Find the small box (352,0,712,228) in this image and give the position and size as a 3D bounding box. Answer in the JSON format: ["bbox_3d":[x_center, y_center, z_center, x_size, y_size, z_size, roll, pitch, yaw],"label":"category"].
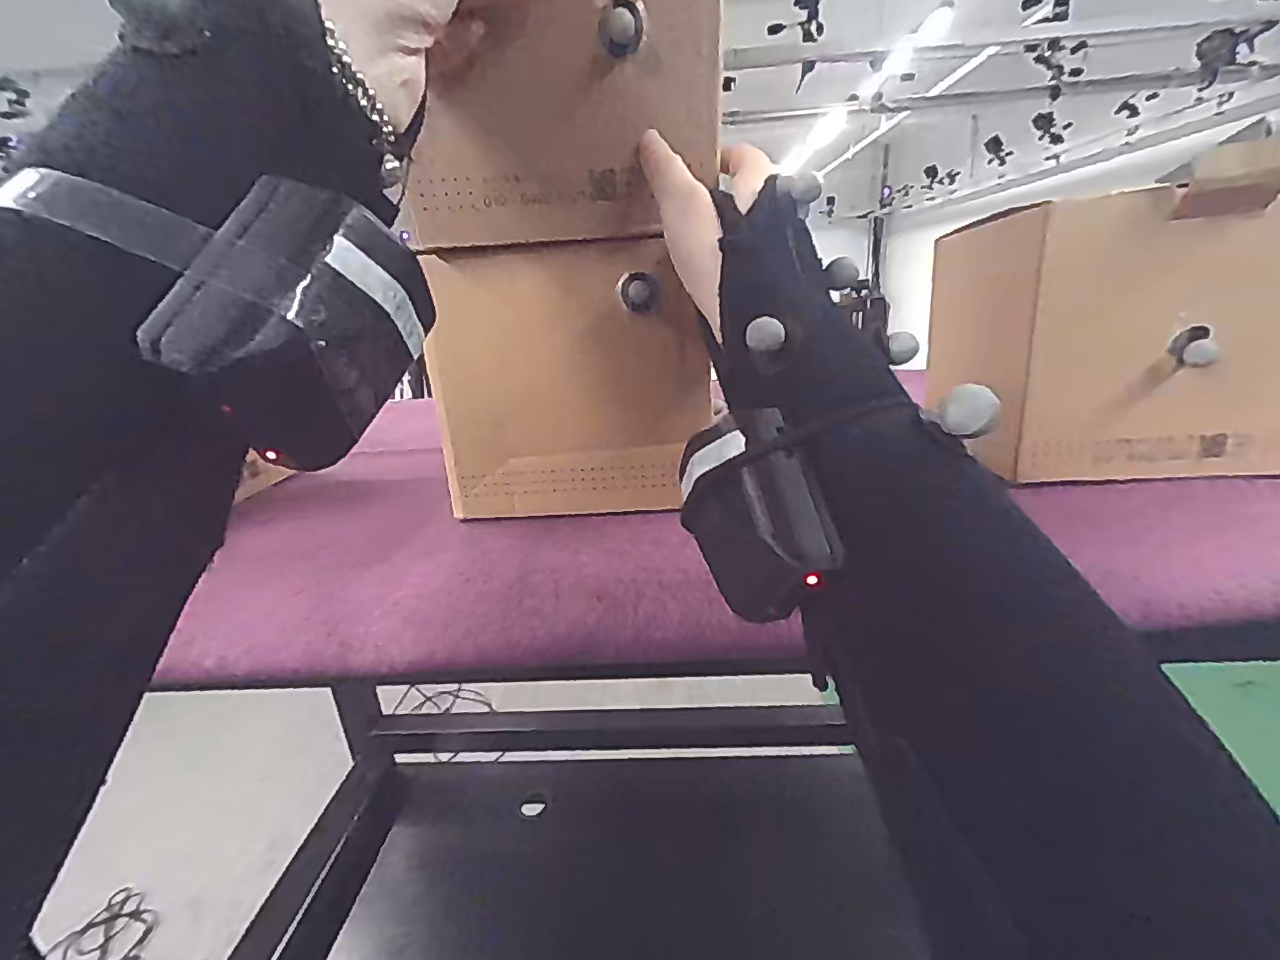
[{"bbox_3d":[-0.049,-0.246,0.315,0.168,0.176,0.179,-3,31,0],"label":"small box"}]

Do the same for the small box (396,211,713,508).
[{"bbox_3d":[-0.043,-0.083,0.393,0.179,0.176,0.168,-3,18,3],"label":"small box"}]

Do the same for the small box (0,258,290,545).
[{"bbox_3d":[-0.404,-0.060,0.392,0.179,0.176,0.168,-3,20,3],"label":"small box"}]

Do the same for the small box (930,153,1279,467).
[{"bbox_3d":[0.319,-0.108,0.374,0.168,0.176,0.179,-2,17,10],"label":"small box"}]
